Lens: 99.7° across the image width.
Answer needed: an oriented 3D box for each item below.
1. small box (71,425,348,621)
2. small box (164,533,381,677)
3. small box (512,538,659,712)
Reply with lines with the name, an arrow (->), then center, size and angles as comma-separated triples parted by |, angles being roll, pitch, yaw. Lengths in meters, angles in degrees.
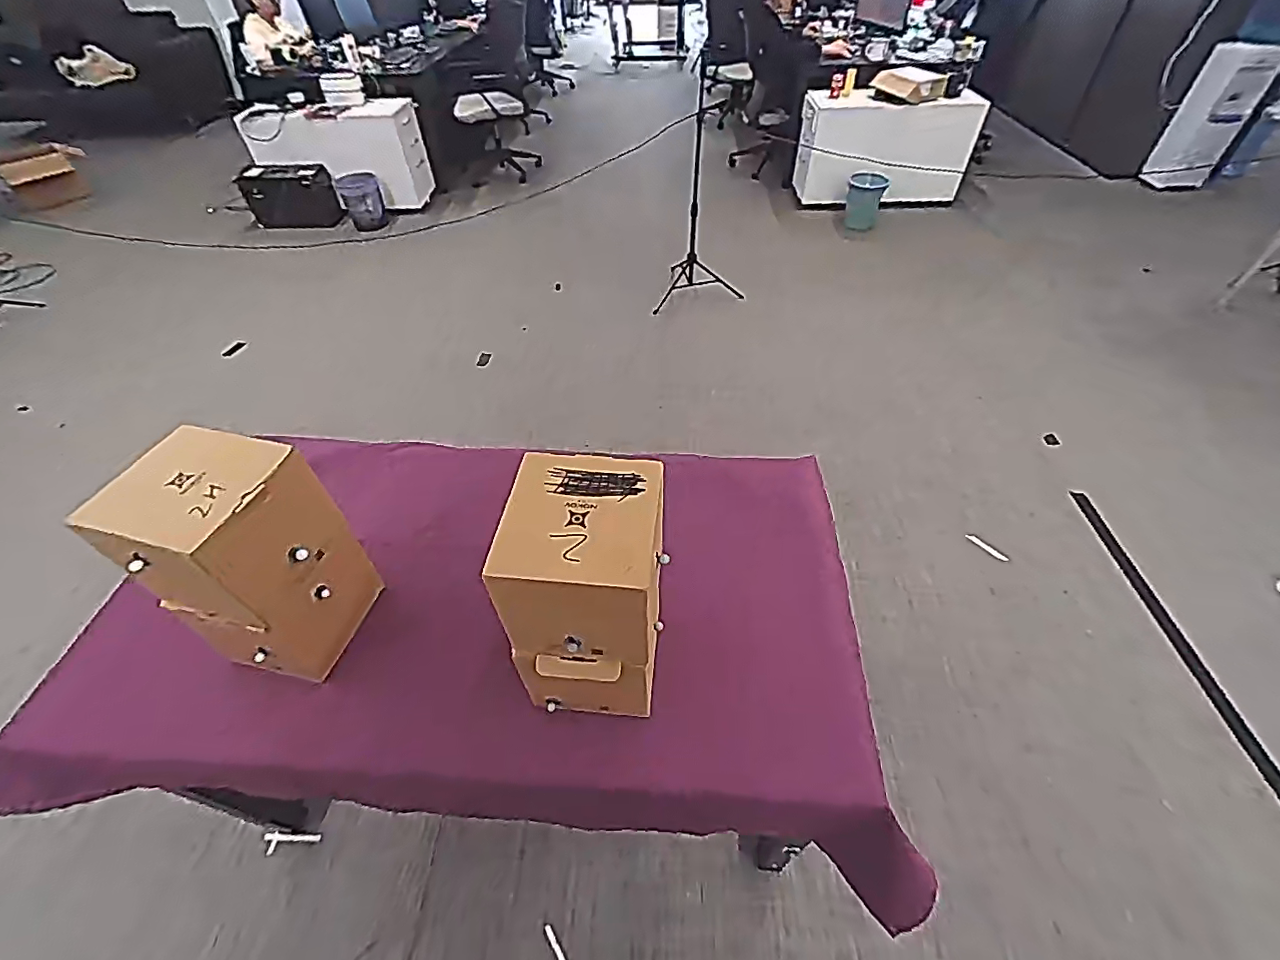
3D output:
small box -> -0.520, 0.056, 0.684 | 0.179, 0.176, 0.168 | 11, 50, 10
small box -> -0.523, 0.168, 0.804 | 0.168, 0.176, 0.179 | 10, 48, 10
small box -> -0.062, 0.205, 0.755 | 0.168, 0.176, 0.179 | 4, 47, 5
